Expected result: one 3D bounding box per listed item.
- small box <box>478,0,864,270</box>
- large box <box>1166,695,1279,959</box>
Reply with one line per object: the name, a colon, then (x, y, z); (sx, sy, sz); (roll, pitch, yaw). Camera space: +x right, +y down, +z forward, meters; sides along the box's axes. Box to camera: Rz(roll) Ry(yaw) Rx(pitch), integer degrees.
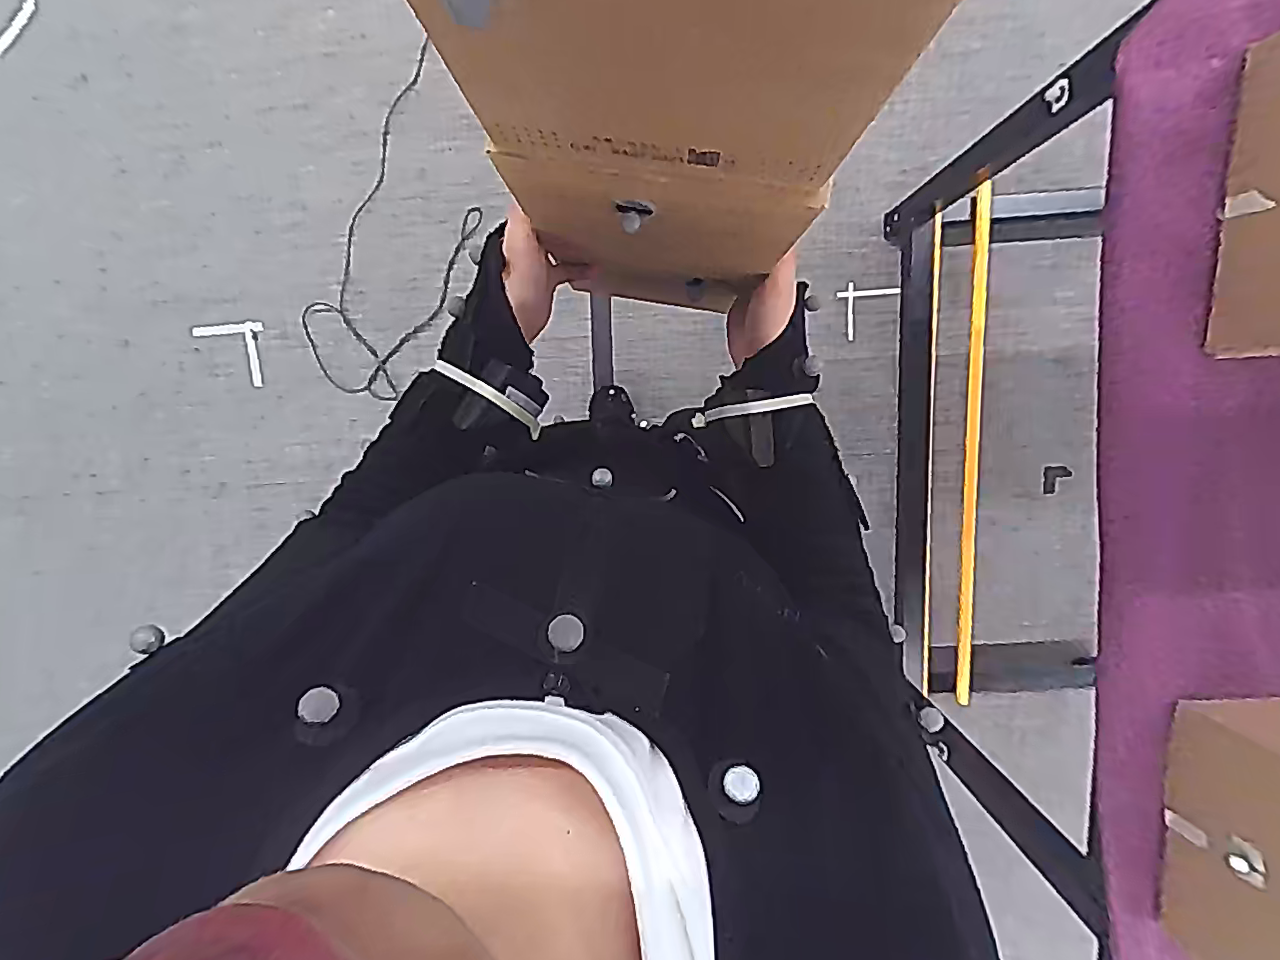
small box: (0.020, -0.242, 0.333); (0.179, 0.176, 0.168); (9, 97, -1)
large box: (0.848, 0.418, 0.520); (0.408, 0.320, 0.320); (-3, 98, -1)
